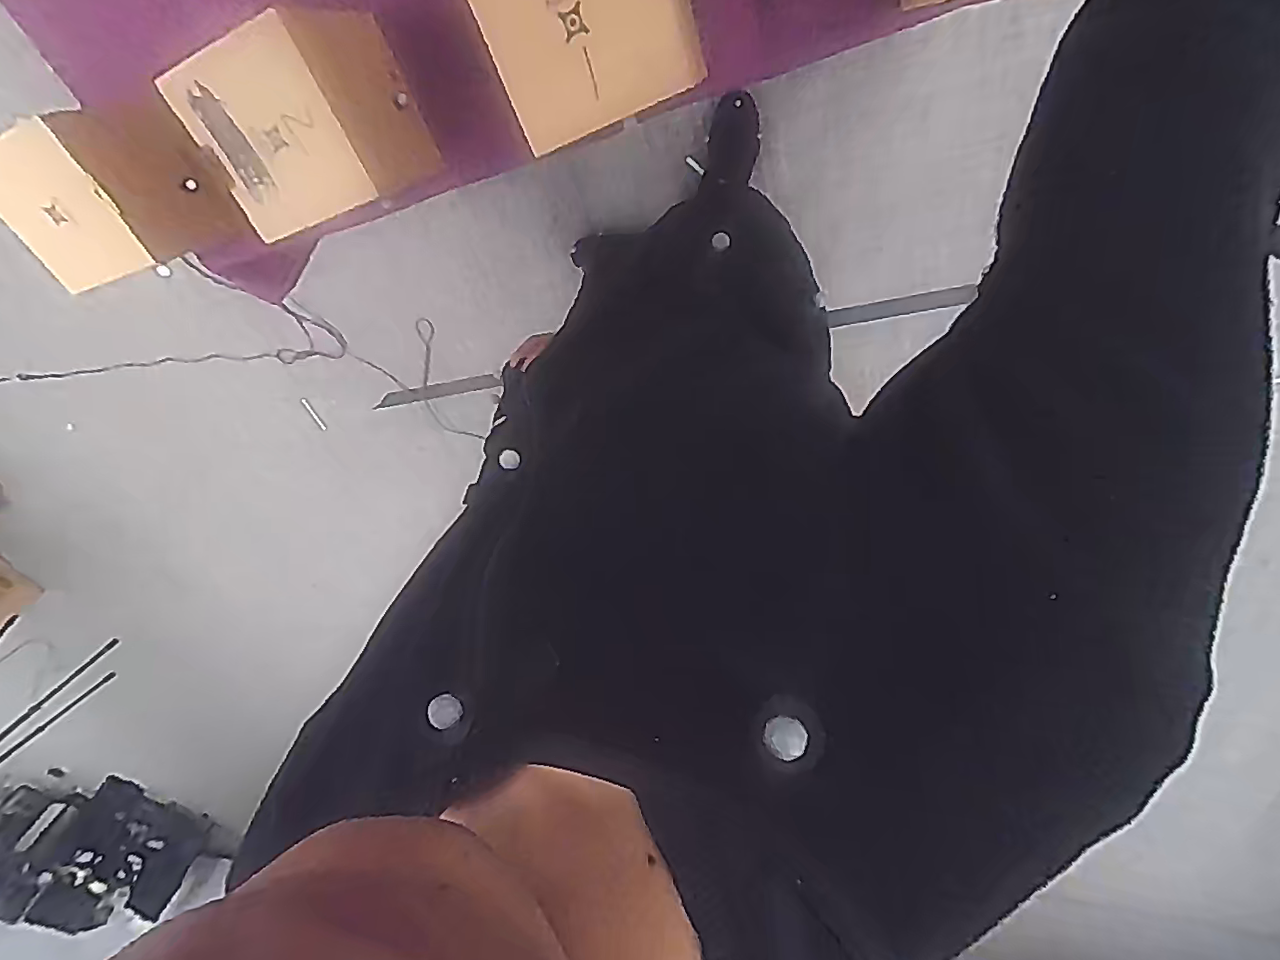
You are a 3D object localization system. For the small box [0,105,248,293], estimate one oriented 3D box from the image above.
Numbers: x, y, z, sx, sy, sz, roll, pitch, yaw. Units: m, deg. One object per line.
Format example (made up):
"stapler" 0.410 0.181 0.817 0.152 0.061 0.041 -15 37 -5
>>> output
"small box" -0.688 -0.375 0.723 0.179 0.176 0.168 -8 127 18

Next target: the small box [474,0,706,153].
"small box" -0.042 -0.448 0.514 0.168 0.176 0.179 -11 127 21
